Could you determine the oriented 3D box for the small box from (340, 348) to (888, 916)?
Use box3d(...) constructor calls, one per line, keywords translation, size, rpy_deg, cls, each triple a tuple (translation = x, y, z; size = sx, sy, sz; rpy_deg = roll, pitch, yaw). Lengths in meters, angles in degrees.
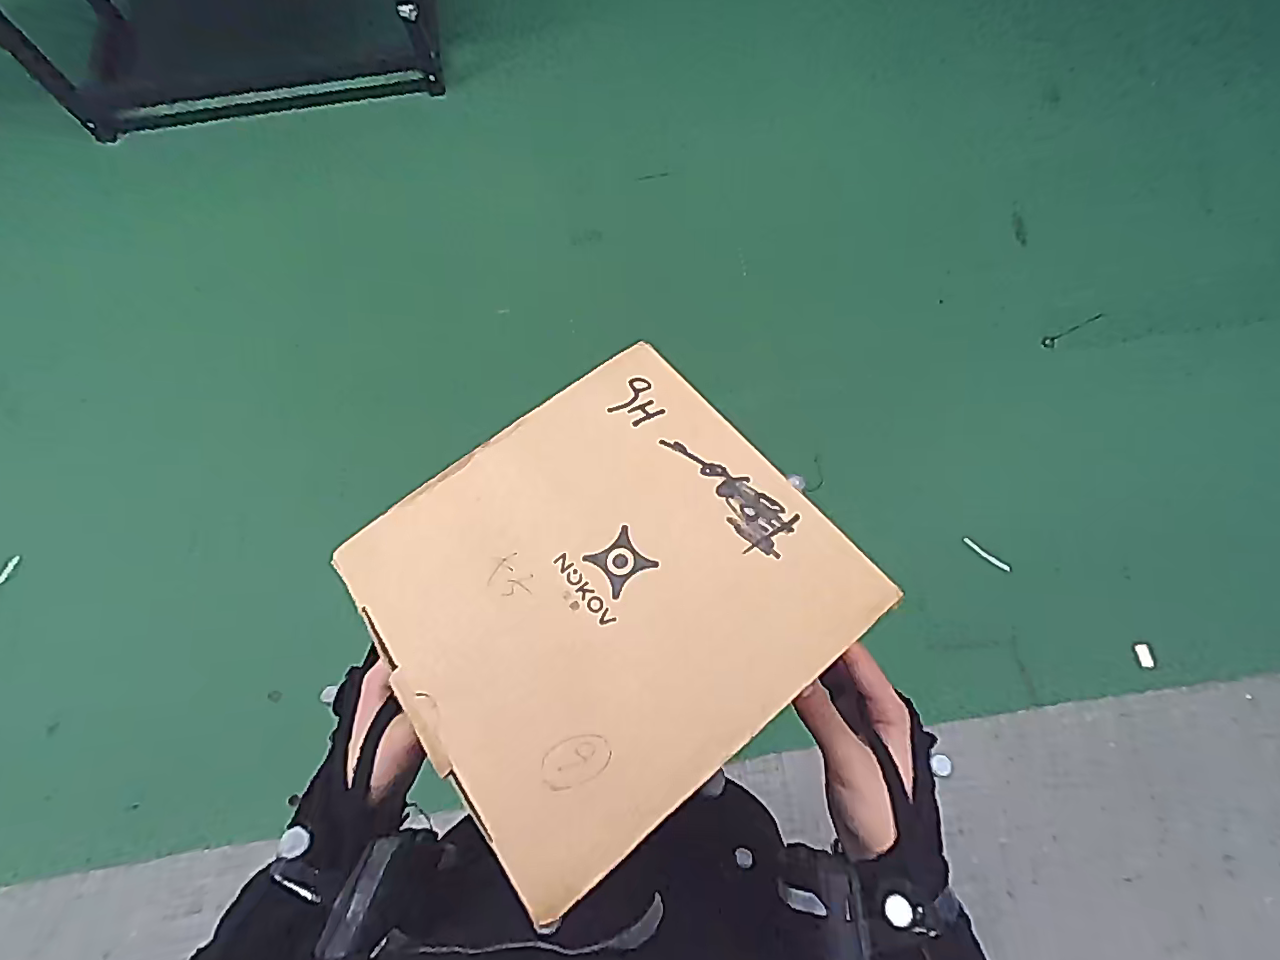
box3d(translation=(-0.010, 0.072, 0.295), size=(0.179, 0.176, 0.168), rpy_deg=(-37, 68, -12), cls="small box")
